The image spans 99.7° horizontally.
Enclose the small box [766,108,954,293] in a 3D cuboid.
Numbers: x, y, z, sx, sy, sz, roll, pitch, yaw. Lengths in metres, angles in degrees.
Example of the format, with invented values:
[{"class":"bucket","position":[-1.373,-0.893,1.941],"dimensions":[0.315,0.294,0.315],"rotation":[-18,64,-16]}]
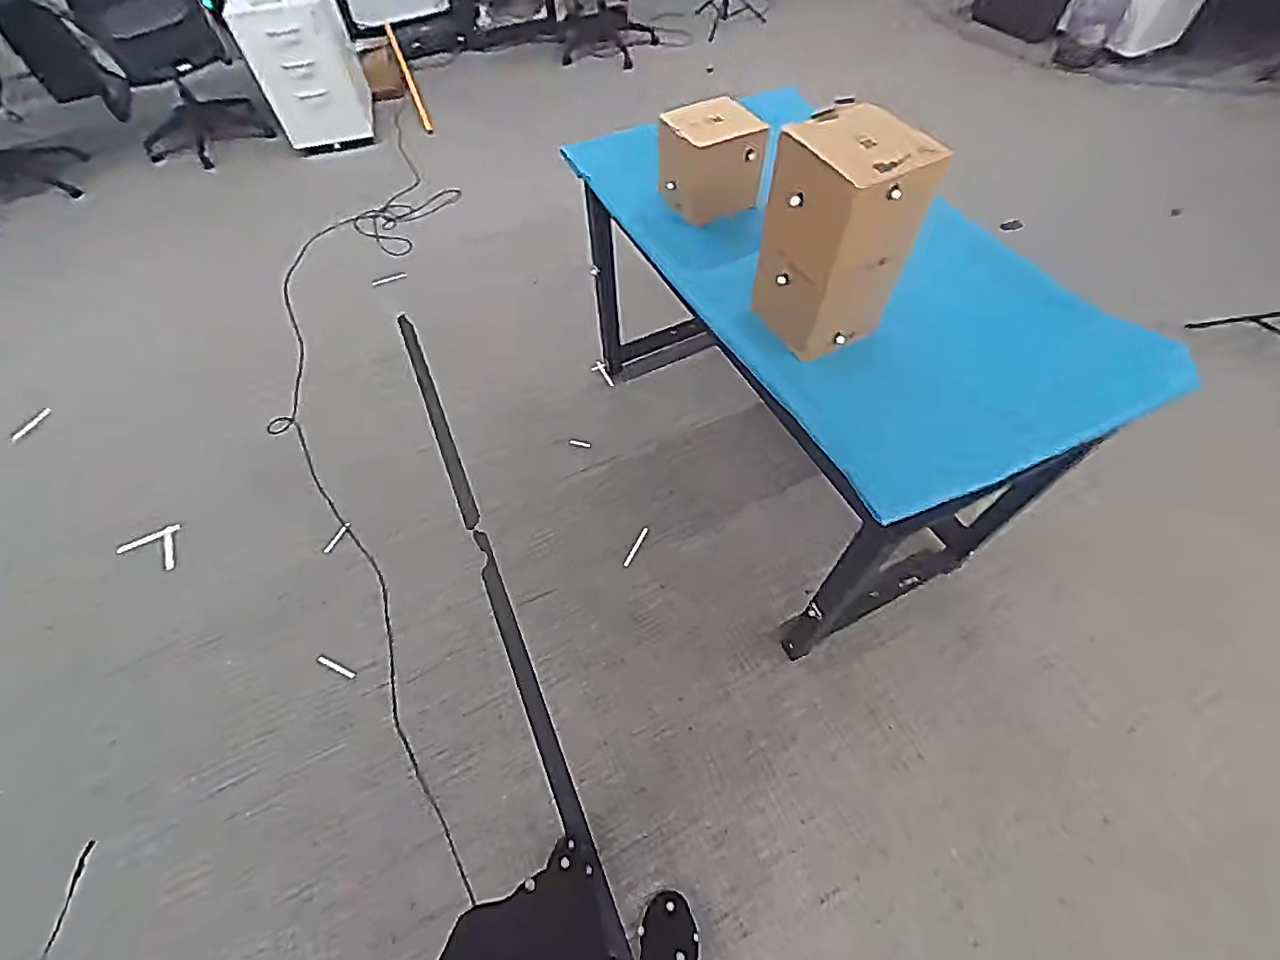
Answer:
[{"class":"small box","position":[0.314,-0.419,0.817],"dimensions":[0.168,0.176,0.179],"rotation":[-27,61,-14]}]

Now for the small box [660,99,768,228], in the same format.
[{"class":"small box","position":[0.155,-0.691,1.188],"dimensions":[0.179,0.176,0.168],"rotation":[-23,59,-9]}]

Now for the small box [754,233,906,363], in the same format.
[{"class":"small box","position":[0.322,-0.341,0.959],"dimensions":[0.168,0.176,0.179],"rotation":[-24,60,-12]}]
